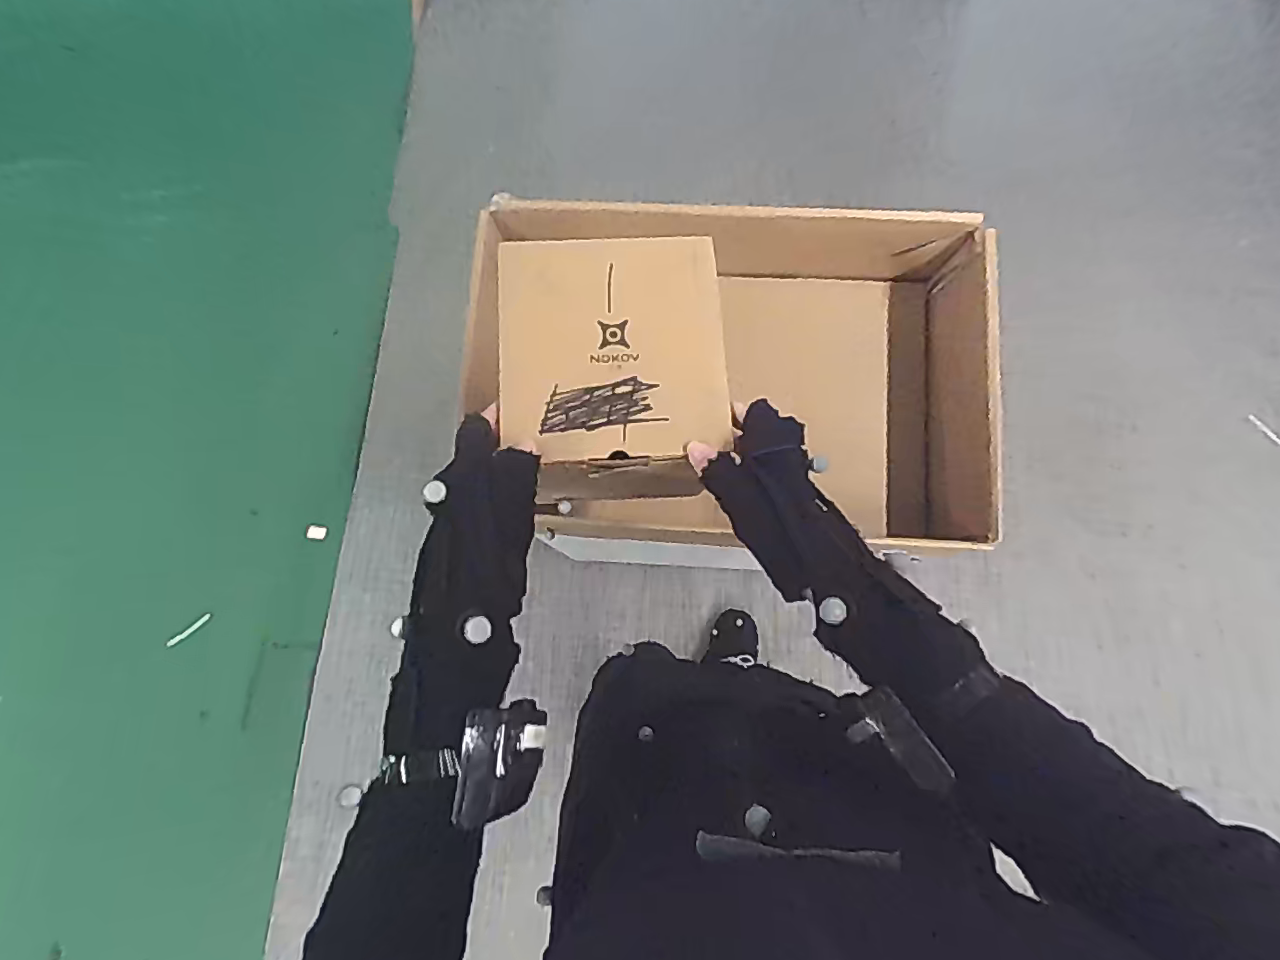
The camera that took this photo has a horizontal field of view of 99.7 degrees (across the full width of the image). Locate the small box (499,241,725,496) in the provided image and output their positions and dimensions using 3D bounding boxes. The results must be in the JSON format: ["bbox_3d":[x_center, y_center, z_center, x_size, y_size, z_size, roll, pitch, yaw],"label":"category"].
[{"bbox_3d":[-0.024,-0.083,0.481,0.168,0.176,0.179,-2,78,-3],"label":"small box"}]
